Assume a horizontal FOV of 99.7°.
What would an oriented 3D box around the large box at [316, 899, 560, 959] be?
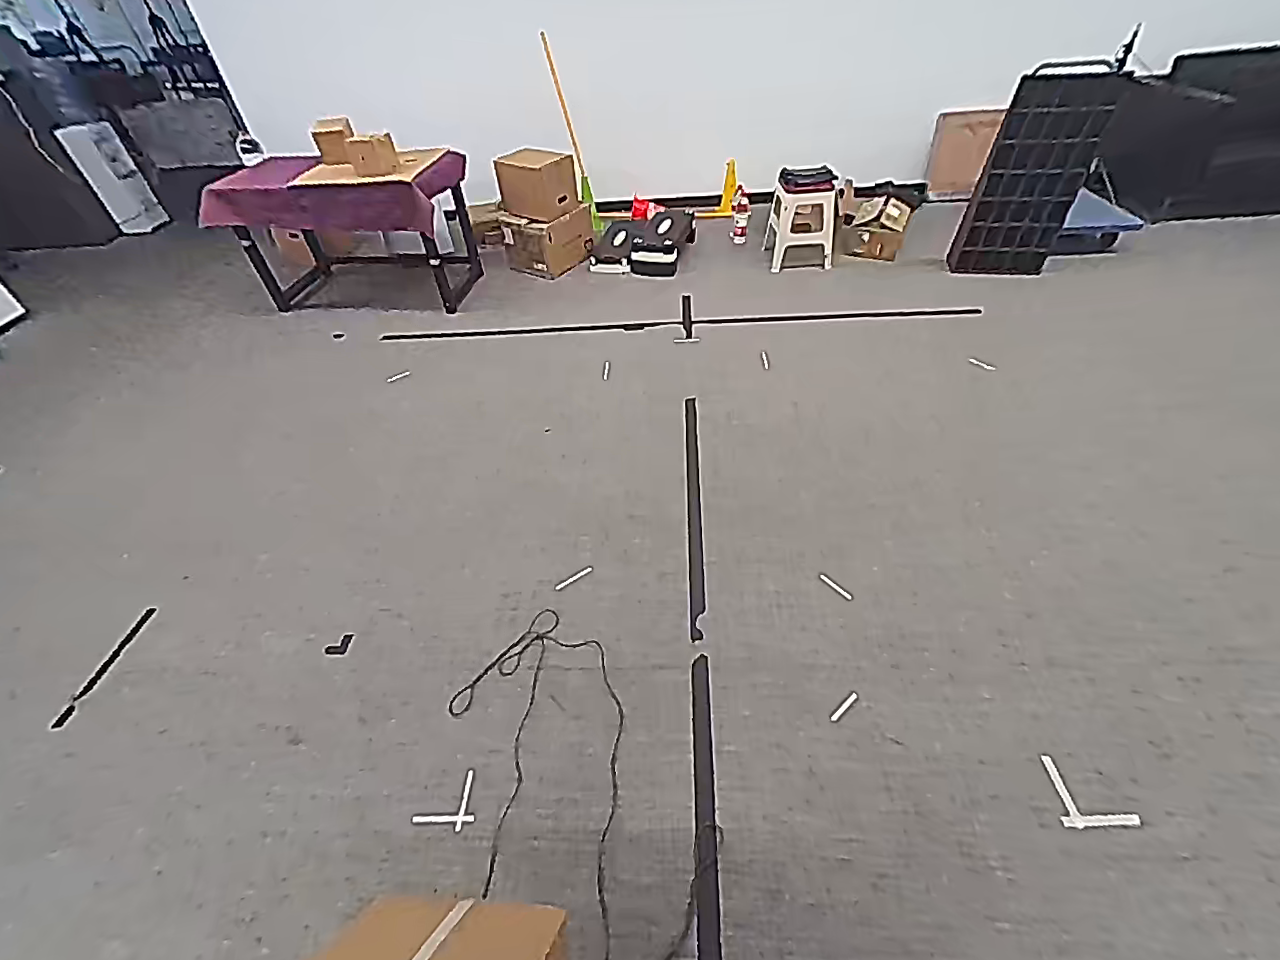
[{"bbox_3d":[-0.298,0.783,0.631,0.320,0.408,0.320,-2,78,8],"label":"large box"}]
